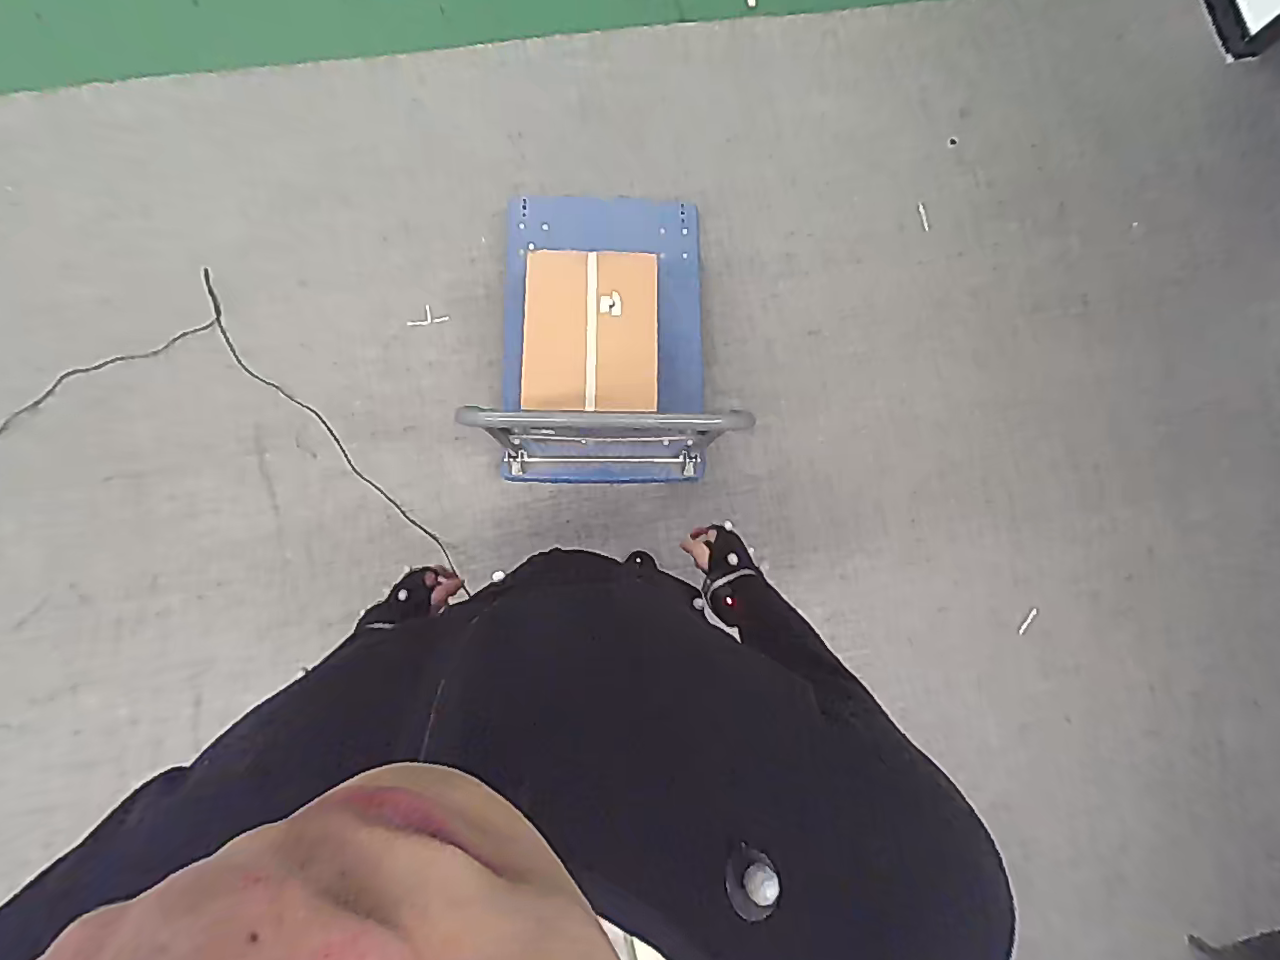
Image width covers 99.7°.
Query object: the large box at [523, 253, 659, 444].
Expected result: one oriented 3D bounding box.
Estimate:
[{"bbox_3d":[-0.121,-0.323,1.417,0.320,0.320,0.408,1,80,-4],"label":"large box"}]
